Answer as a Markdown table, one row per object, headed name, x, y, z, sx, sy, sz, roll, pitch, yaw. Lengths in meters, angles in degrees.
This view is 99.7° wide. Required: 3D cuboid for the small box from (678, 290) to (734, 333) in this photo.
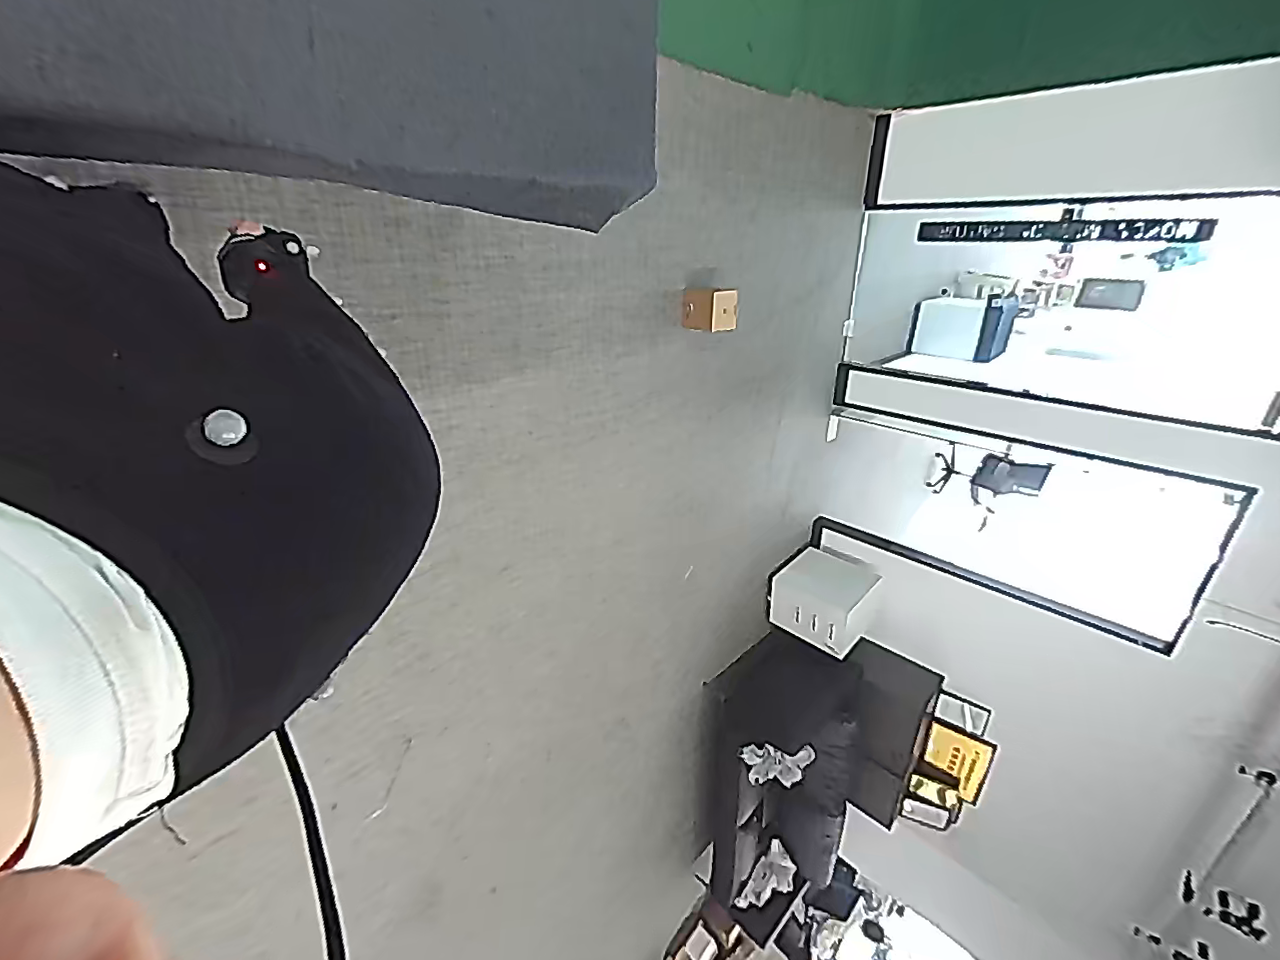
| name | x | y | z | sx | sy | sz | roll | pitch | yaw |
| --- | --- | --- | --- | --- | --- | --- | --- | --- | --- |
| small box | 0.288 | -0.738 | 2.359 | 0.179 | 0.176 | 0.168 | -19 | 119 | -43 |
